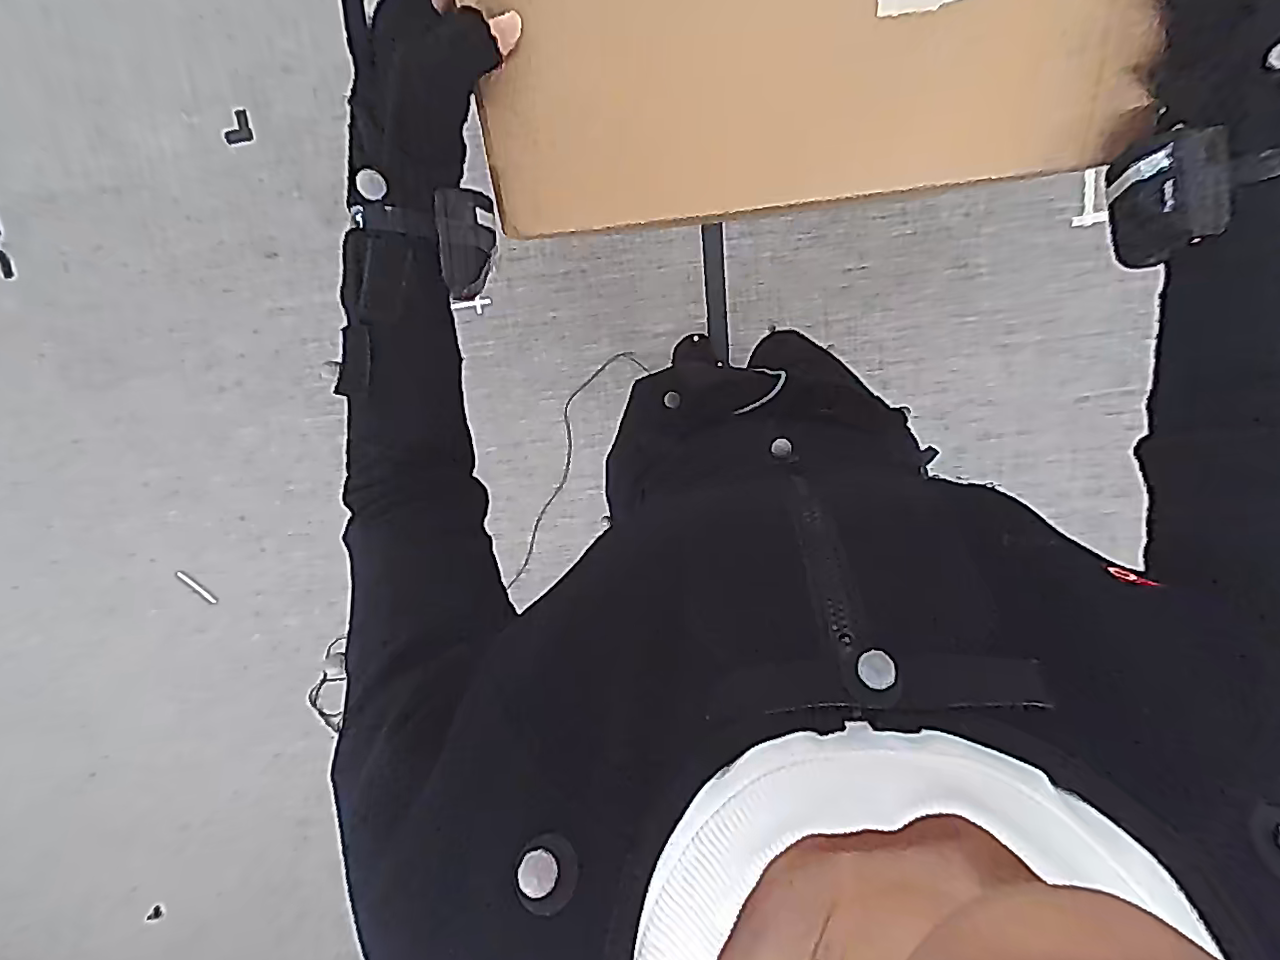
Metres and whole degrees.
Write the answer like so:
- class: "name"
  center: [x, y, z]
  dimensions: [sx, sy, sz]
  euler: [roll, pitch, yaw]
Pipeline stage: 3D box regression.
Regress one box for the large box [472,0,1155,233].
- class: "large box"
  center: [0.099, -0.395, 0.436]
  dimensions: [0.408, 0.320, 0.320]
  euler: [-4, 115, 7]
